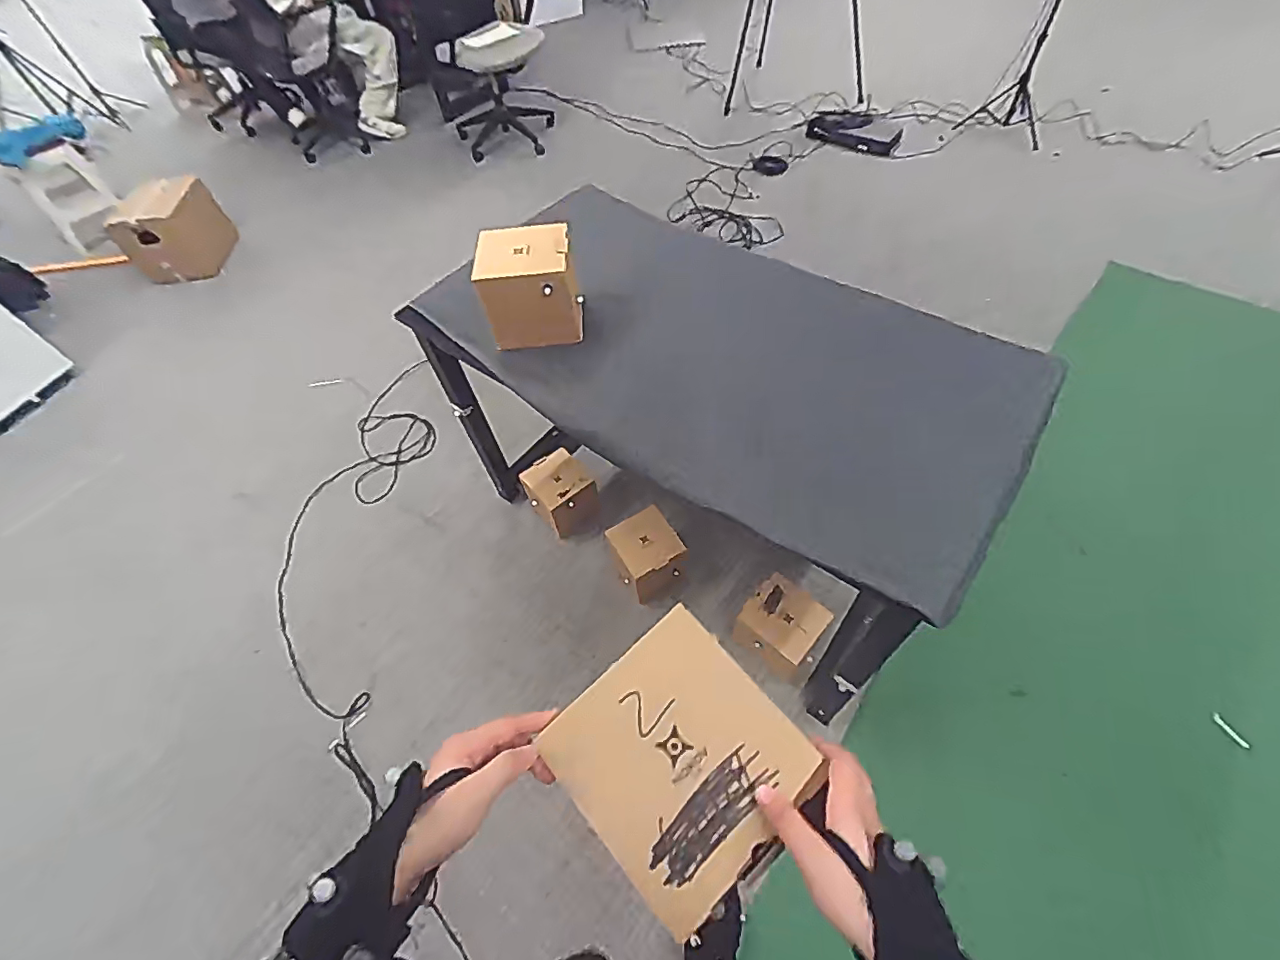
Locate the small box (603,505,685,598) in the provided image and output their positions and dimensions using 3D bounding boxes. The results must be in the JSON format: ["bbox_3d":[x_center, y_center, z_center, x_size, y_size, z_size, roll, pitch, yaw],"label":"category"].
[{"bbox_3d":[0.017,0.209,1.527,0.168,0.176,0.179,-28,55,-15],"label":"small box"}]

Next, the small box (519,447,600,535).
[{"bbox_3d":[-0.245,0.037,1.676,0.168,0.176,0.179,-36,58,-19],"label":"small box"}]

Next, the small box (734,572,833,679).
[{"bbox_3d":[0.356,0.375,1.375,0.179,0.176,0.168,37,66,26],"label":"small box"}]

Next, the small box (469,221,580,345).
[{"bbox_3d":[-0.221,-0.387,1.080,0.179,0.176,0.168,-5,54,1],"label":"small box"}]
